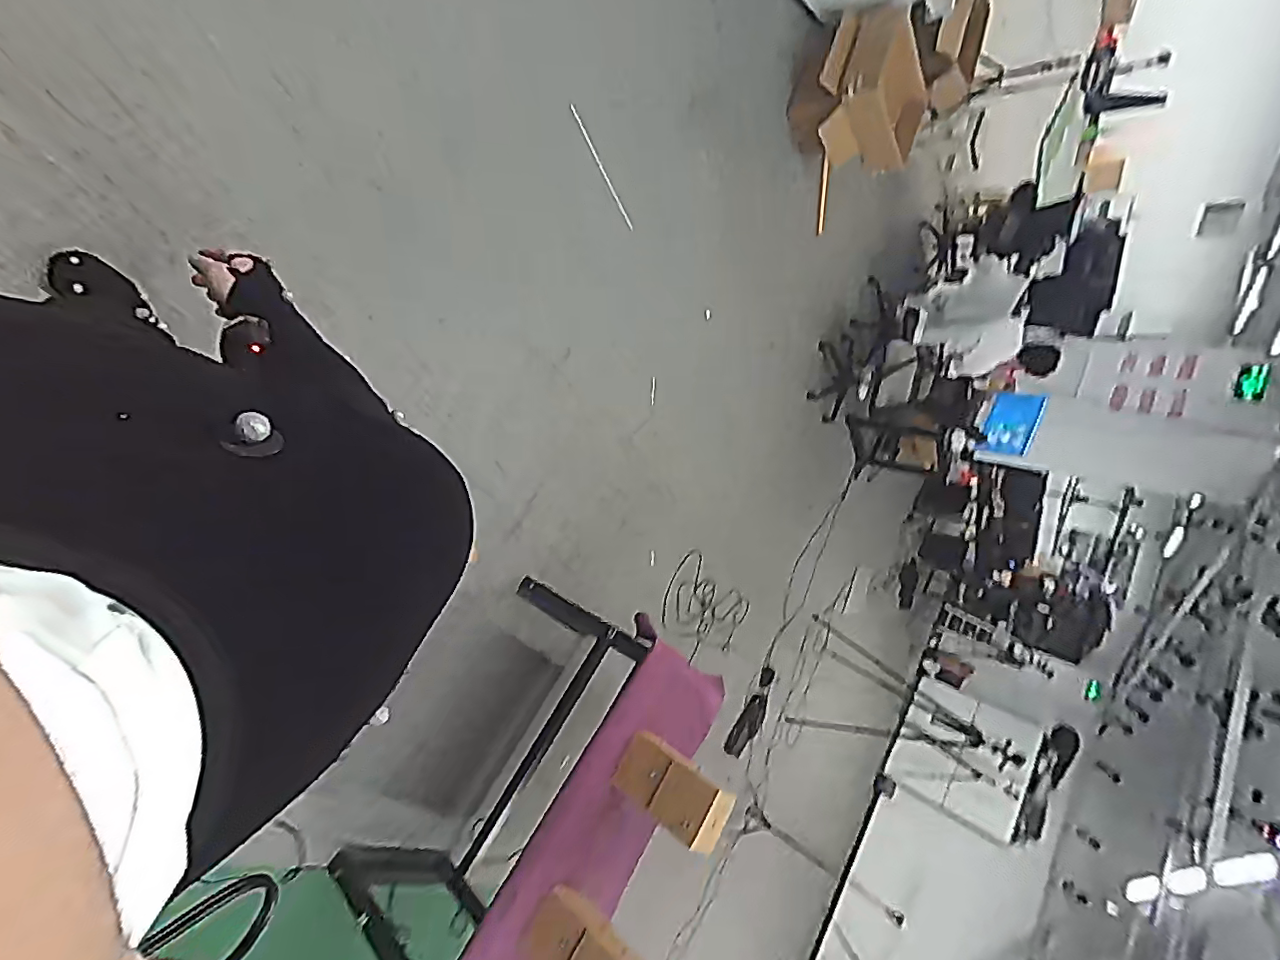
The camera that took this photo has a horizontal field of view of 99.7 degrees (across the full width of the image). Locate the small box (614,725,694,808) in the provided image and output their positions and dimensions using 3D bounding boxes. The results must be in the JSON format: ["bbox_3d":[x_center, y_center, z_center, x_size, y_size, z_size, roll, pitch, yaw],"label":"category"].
[{"bbox_3d":[0.040,0.933,1.752,0.179,0.176,0.168,-59,138,-17],"label":"small box"}]

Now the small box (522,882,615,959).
[{"bbox_3d":[-0.212,1.335,1.599,0.179,0.176,0.168,-55,138,-20],"label":"small box"}]

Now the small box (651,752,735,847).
[{"bbox_3d":[0.154,0.965,1.636,0.179,0.176,0.168,-57,139,-18],"label":"small box"}]
